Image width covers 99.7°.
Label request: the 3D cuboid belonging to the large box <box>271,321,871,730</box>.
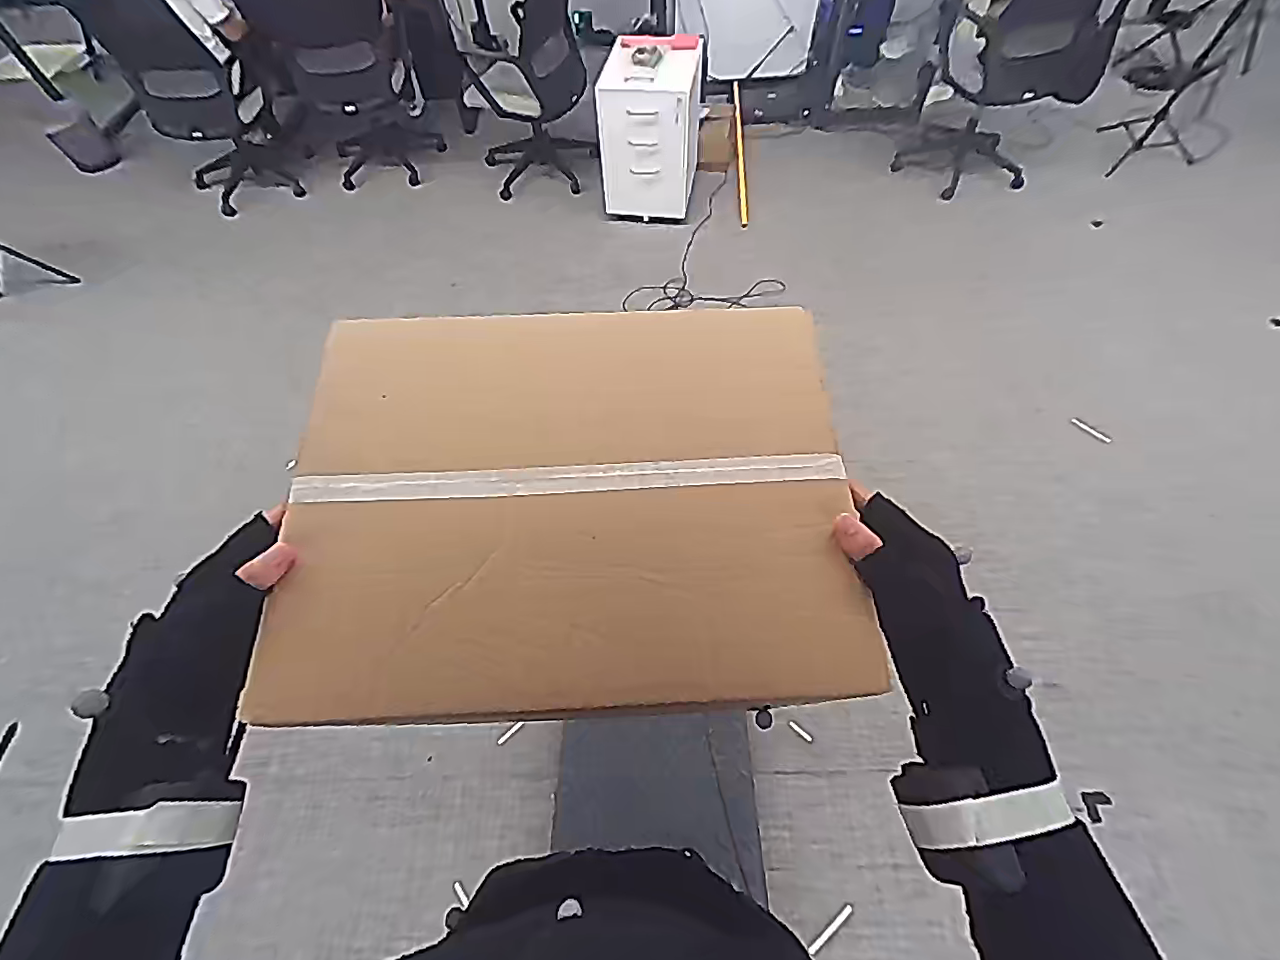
[{"bbox_3d":[-0.049,0.069,0.549,0.408,0.320,0.320,-2,65,-1],"label":"large box"}]
